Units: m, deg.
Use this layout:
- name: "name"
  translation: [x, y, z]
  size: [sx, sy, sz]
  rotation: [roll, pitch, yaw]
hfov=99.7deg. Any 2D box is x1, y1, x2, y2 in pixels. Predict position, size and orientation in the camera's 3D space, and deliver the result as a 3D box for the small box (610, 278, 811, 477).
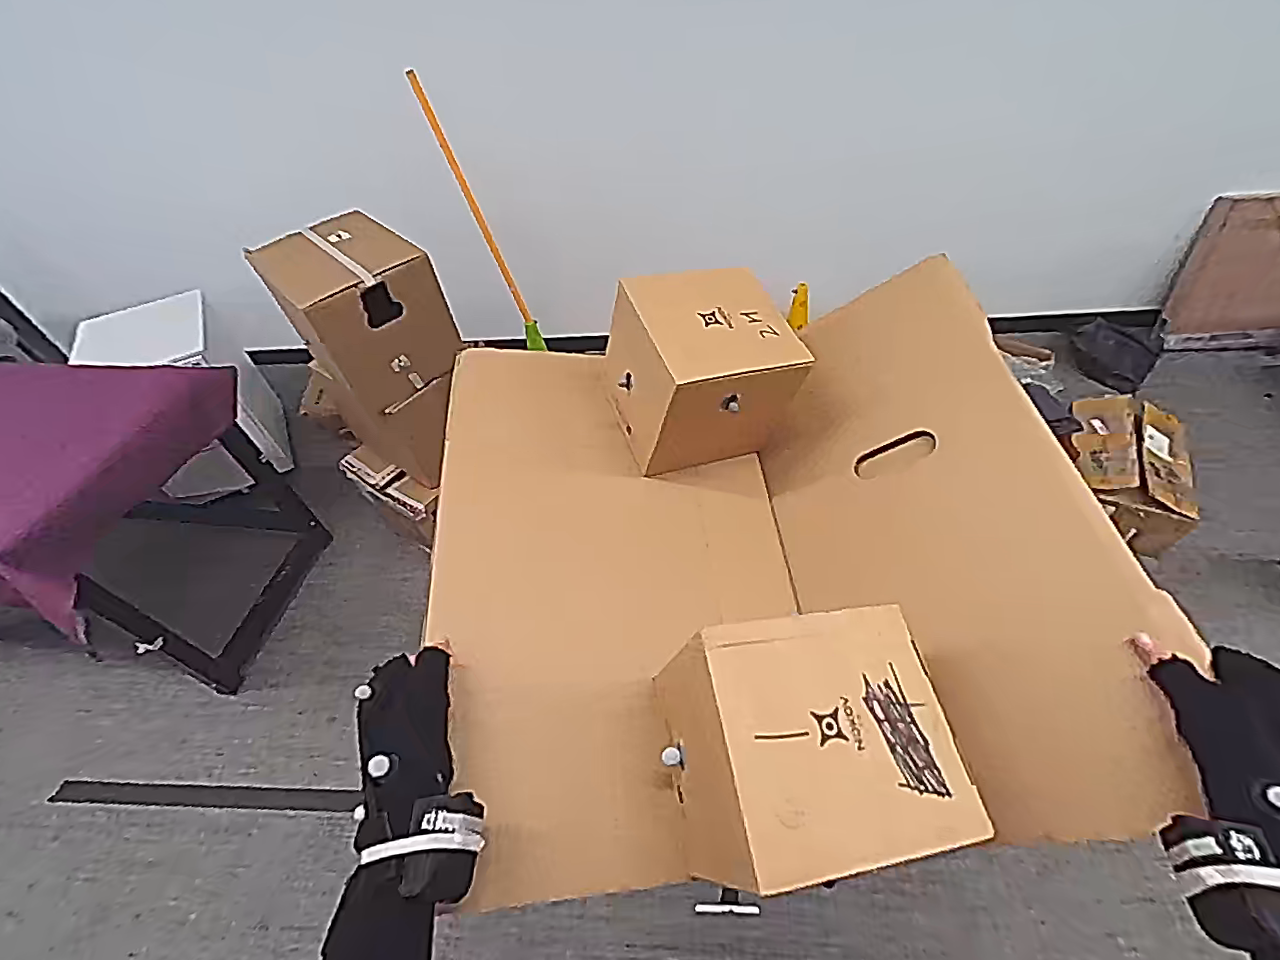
- name: "small box"
  translation: [0.069, -0.122, 0.667]
  size: [0.179, 0.176, 0.168]
  rotation: [-12, 61, -21]
